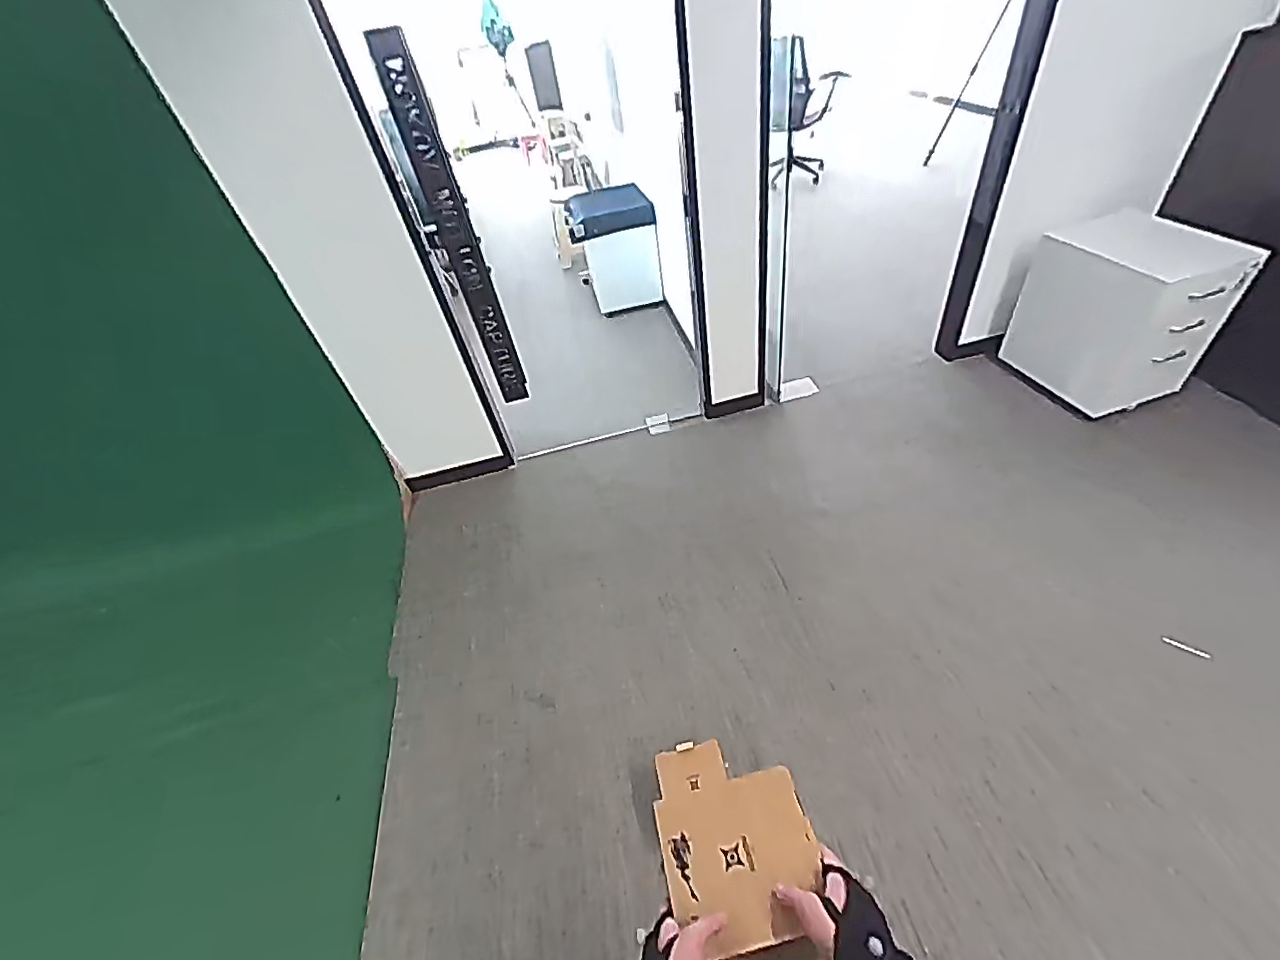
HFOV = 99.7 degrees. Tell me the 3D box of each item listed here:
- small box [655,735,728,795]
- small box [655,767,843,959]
[{"bbox_3d":[0.140,0.769,1.345,0.168,0.176,0.179,-13,44,1],"label":"small box"},{"bbox_3d":[0.127,0.489,0.661,0.179,0.176,0.168,-14,36,-1],"label":"small box"}]
